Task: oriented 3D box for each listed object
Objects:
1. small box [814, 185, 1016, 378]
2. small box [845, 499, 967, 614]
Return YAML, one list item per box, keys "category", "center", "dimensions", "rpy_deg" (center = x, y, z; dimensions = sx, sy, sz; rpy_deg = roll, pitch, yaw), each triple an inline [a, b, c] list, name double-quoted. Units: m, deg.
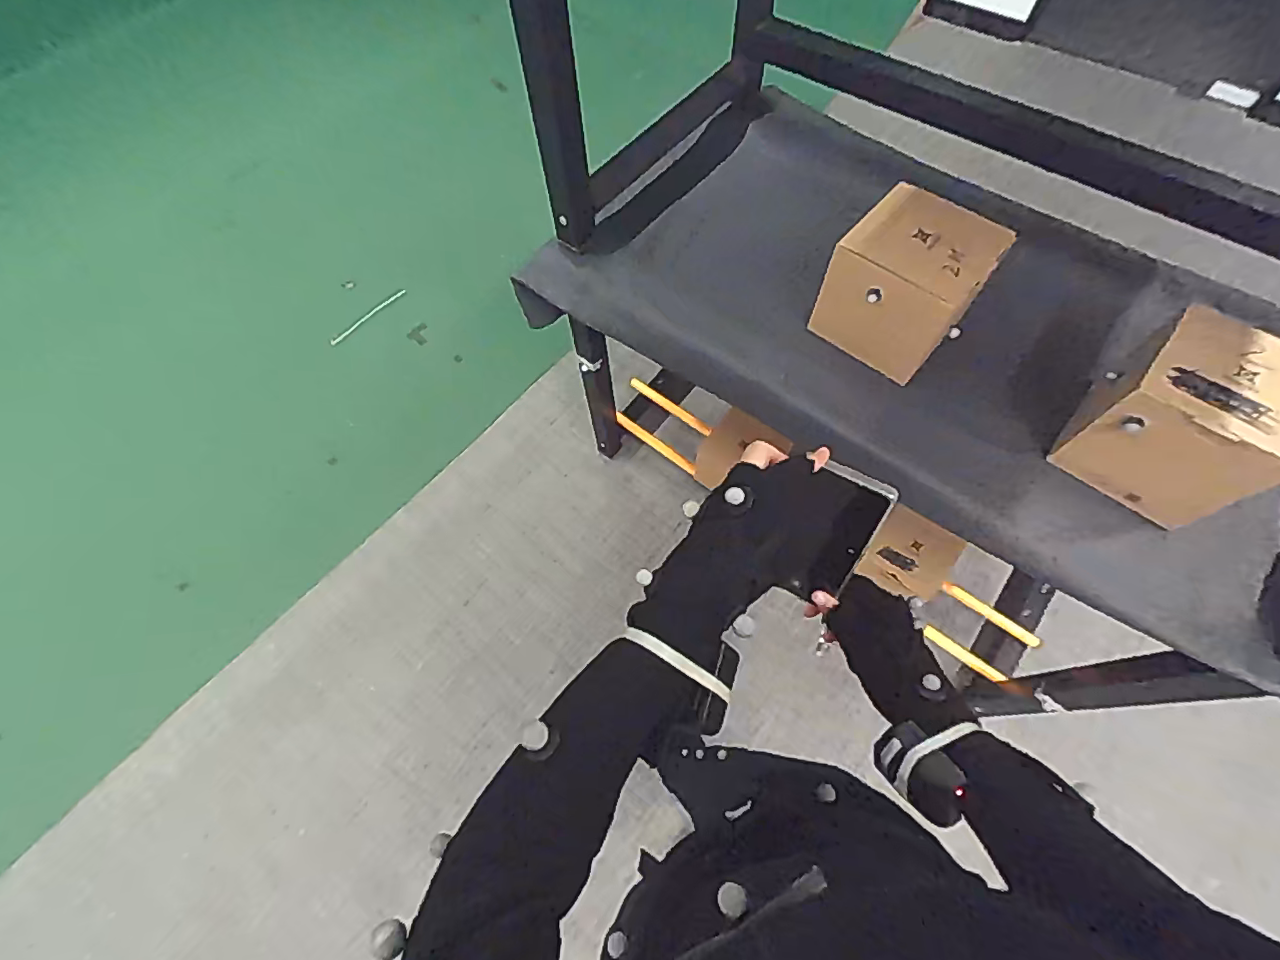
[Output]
- category: "small box"
  center: [0.383, -0.282, 0.789]
  dimensions: [0.179, 0.176, 0.168]
  rpy_deg: [38, 72, 19]
- category: "small box"
  center: [0.599, 0.183, 1.247]
  dimensions: [0.168, 0.176, 0.179]
  rpy_deg: [39, 72, 18]
